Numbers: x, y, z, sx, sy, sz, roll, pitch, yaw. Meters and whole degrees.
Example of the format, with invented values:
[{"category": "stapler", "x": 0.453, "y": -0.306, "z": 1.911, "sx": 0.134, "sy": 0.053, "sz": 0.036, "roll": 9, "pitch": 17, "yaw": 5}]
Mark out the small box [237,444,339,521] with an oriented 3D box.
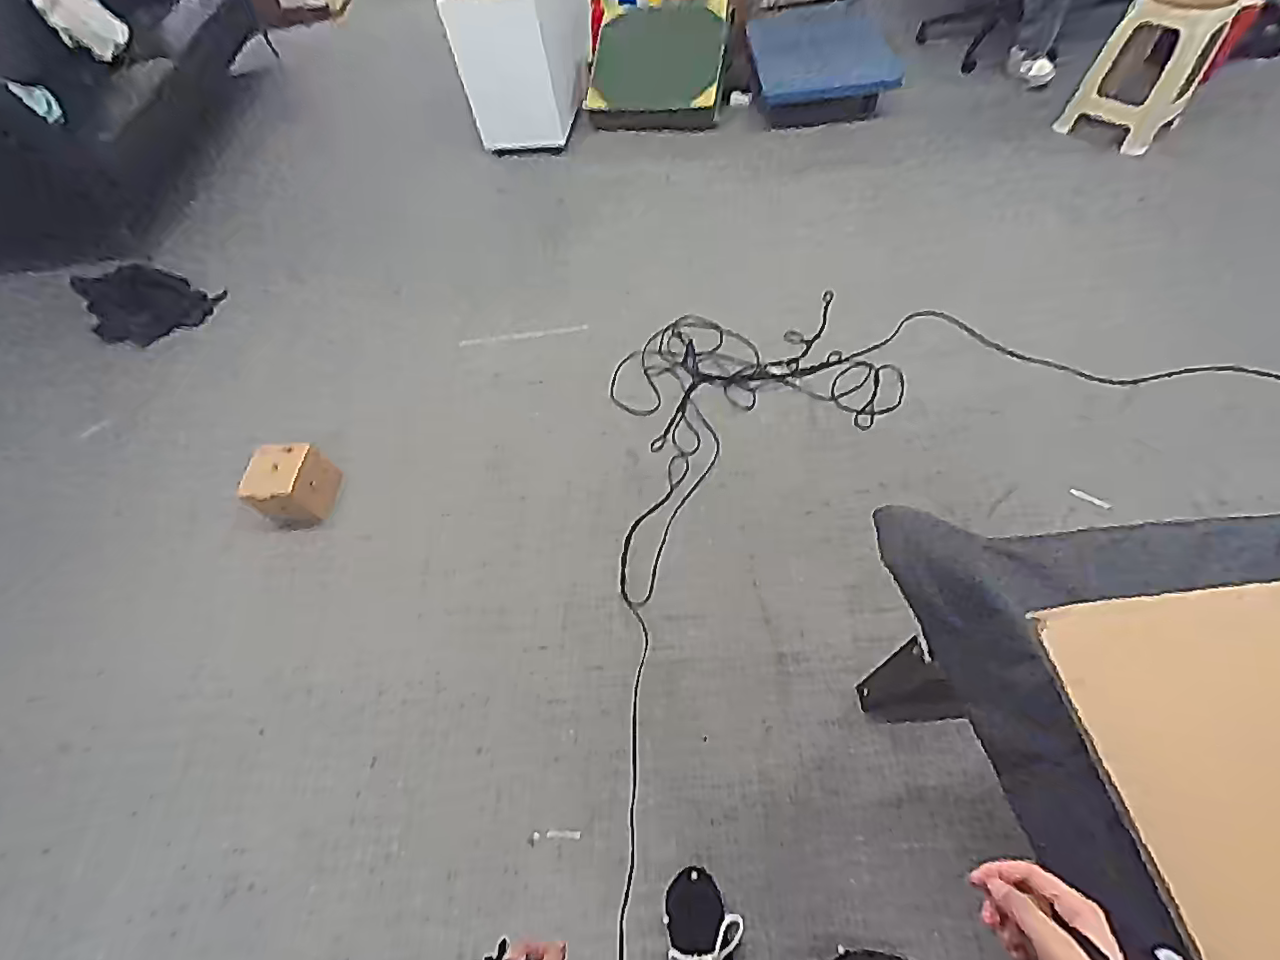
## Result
[{"category": "small box", "x": -1.031, "y": 0.014, "z": 1.604, "sx": 0.168, "sy": 0.176, "sz": 0.179, "roll": -2, "pitch": 59, "yaw": 5}]
